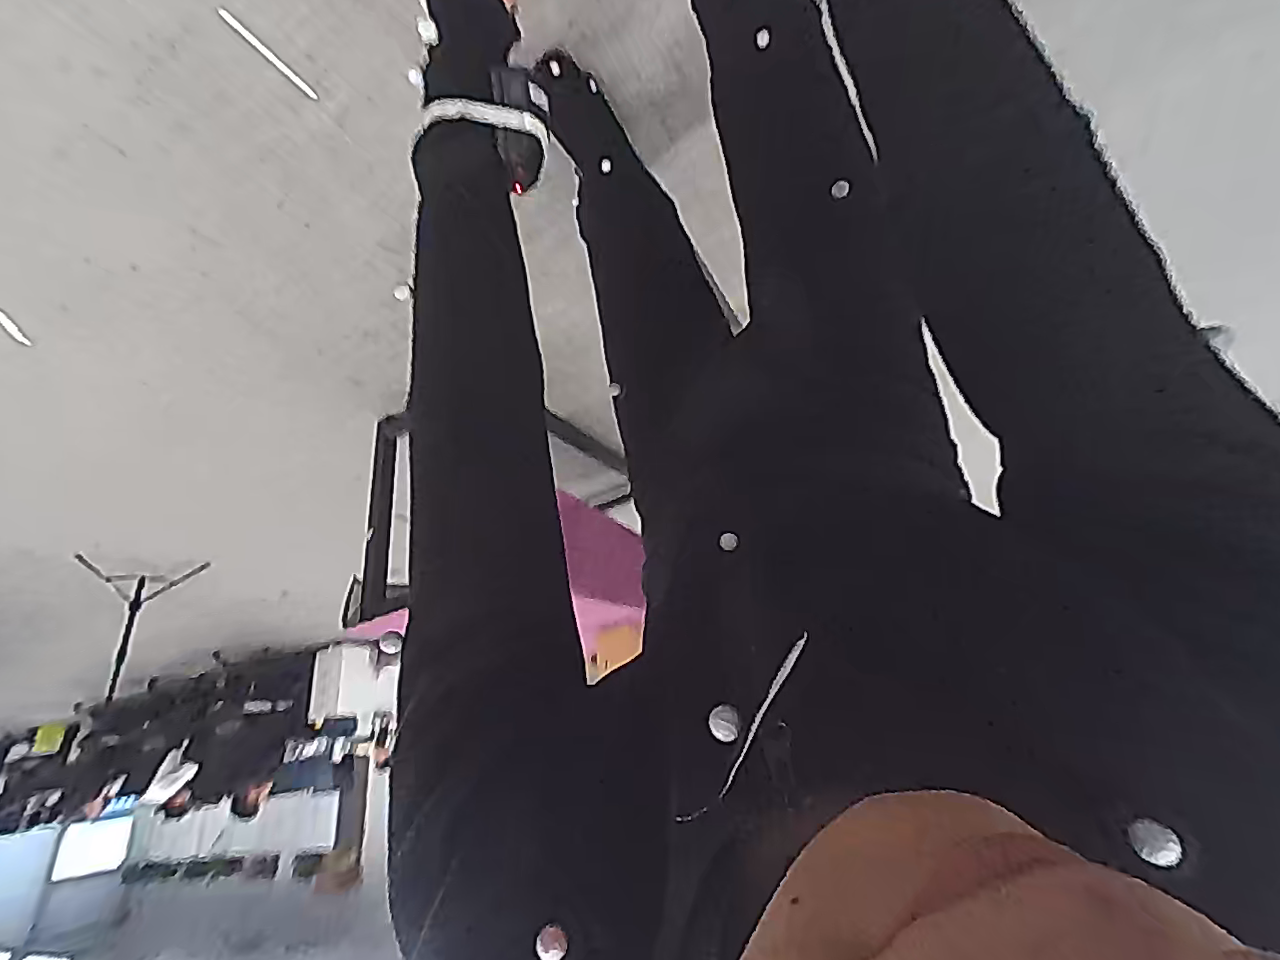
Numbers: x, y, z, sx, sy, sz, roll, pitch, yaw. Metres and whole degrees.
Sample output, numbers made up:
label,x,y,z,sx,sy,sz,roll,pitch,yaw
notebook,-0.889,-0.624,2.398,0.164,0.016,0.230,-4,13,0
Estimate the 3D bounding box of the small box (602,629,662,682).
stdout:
label,x,y,z,sx,sy,sz,roll,pitch,yaw
small box,-0.037,0.689,2.116,0.179,0.176,0.168,-26,150,31
